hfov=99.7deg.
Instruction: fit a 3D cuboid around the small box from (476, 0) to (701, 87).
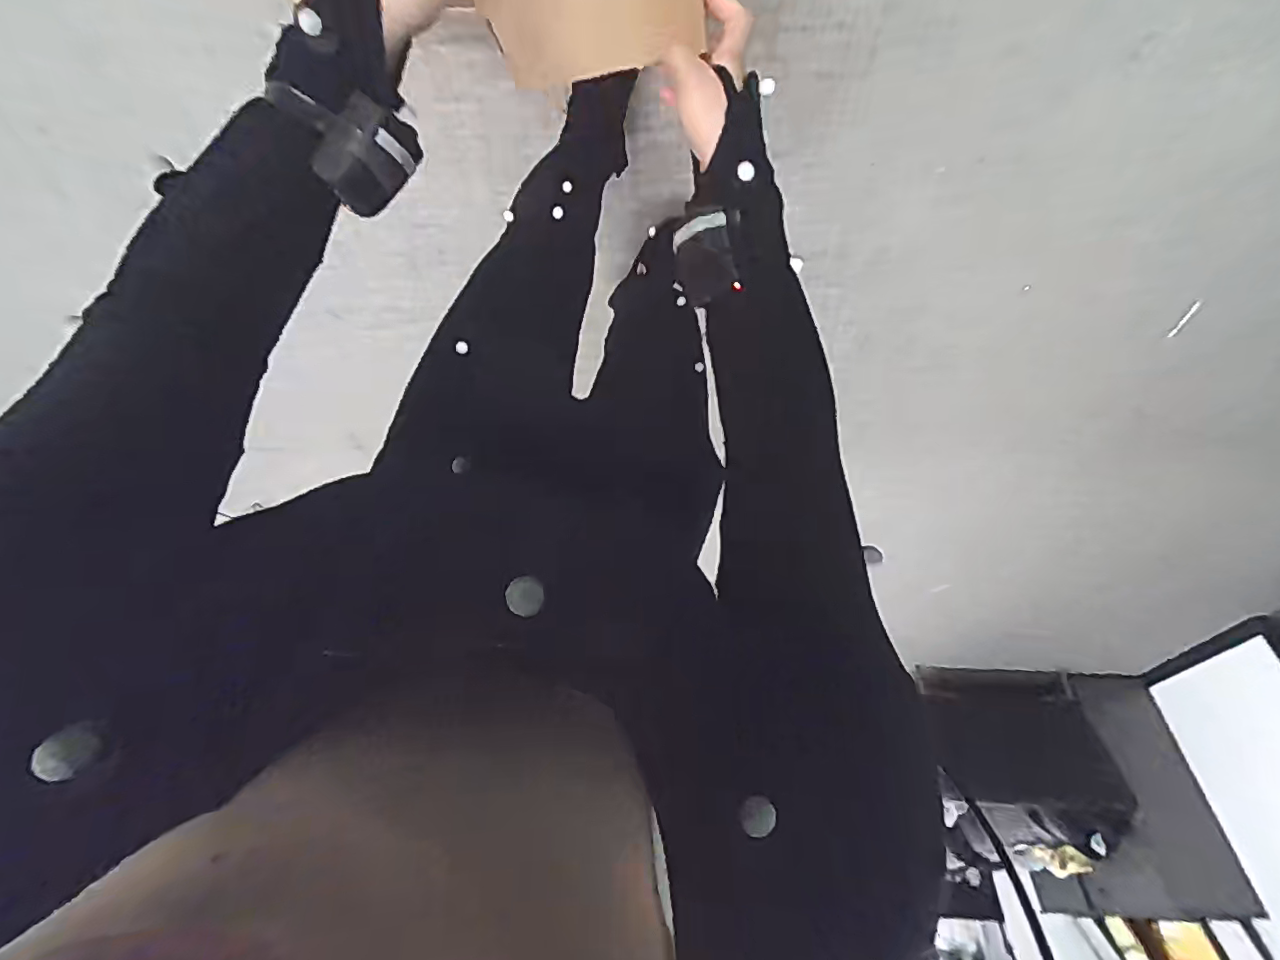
[{"bbox_3d":[-0.045,-0.463,0.426,0.179,0.176,0.168,-2,160,13],"label":"small box"}]
